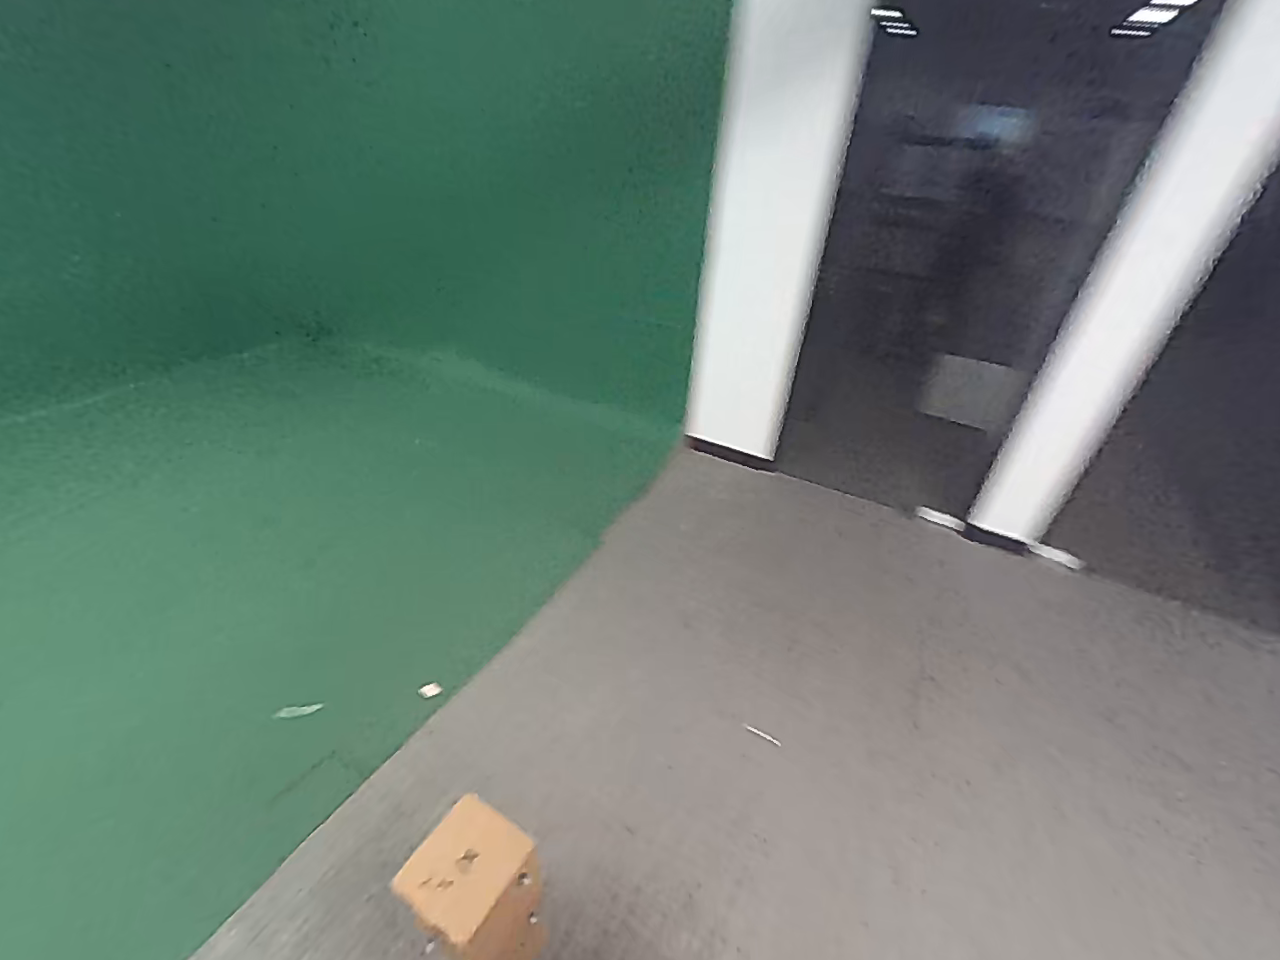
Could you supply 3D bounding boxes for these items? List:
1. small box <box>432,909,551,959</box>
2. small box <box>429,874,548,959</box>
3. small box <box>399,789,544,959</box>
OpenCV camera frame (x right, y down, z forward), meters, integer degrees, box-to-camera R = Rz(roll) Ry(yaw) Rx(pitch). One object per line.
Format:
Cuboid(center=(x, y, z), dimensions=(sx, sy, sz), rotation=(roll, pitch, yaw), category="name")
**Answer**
Cuboid(center=(-0.302, 0.967, 1.138), dimensions=(0.168, 0.176, 0.179), rotation=(24, 40, 27), category="small box")
Cuboid(center=(-0.293, 0.835, 1.044), dimensions=(0.168, 0.176, 0.179), rotation=(20, 39, 25), category="small box")
Cuboid(center=(-0.285, 0.701, 0.948), dimensions=(0.168, 0.176, 0.179), rotation=(20, 38, 25), category="small box")
